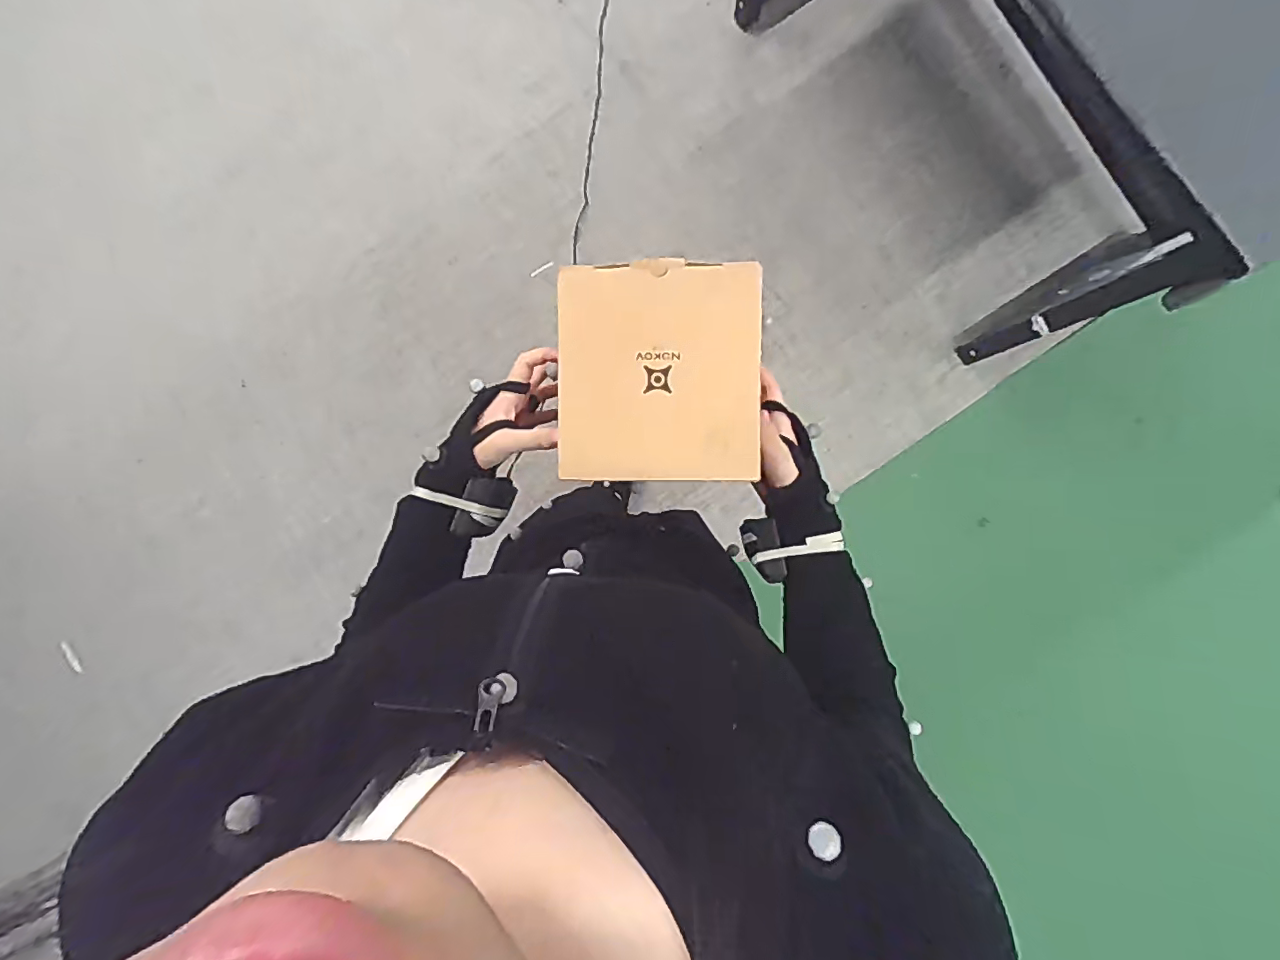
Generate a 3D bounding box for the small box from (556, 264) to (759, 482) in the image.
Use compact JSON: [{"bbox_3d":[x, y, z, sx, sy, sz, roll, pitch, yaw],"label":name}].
[{"bbox_3d":[0.019,-0.090,0.518,0.168,0.176,0.179,1,92,4],"label":"small box"}]
